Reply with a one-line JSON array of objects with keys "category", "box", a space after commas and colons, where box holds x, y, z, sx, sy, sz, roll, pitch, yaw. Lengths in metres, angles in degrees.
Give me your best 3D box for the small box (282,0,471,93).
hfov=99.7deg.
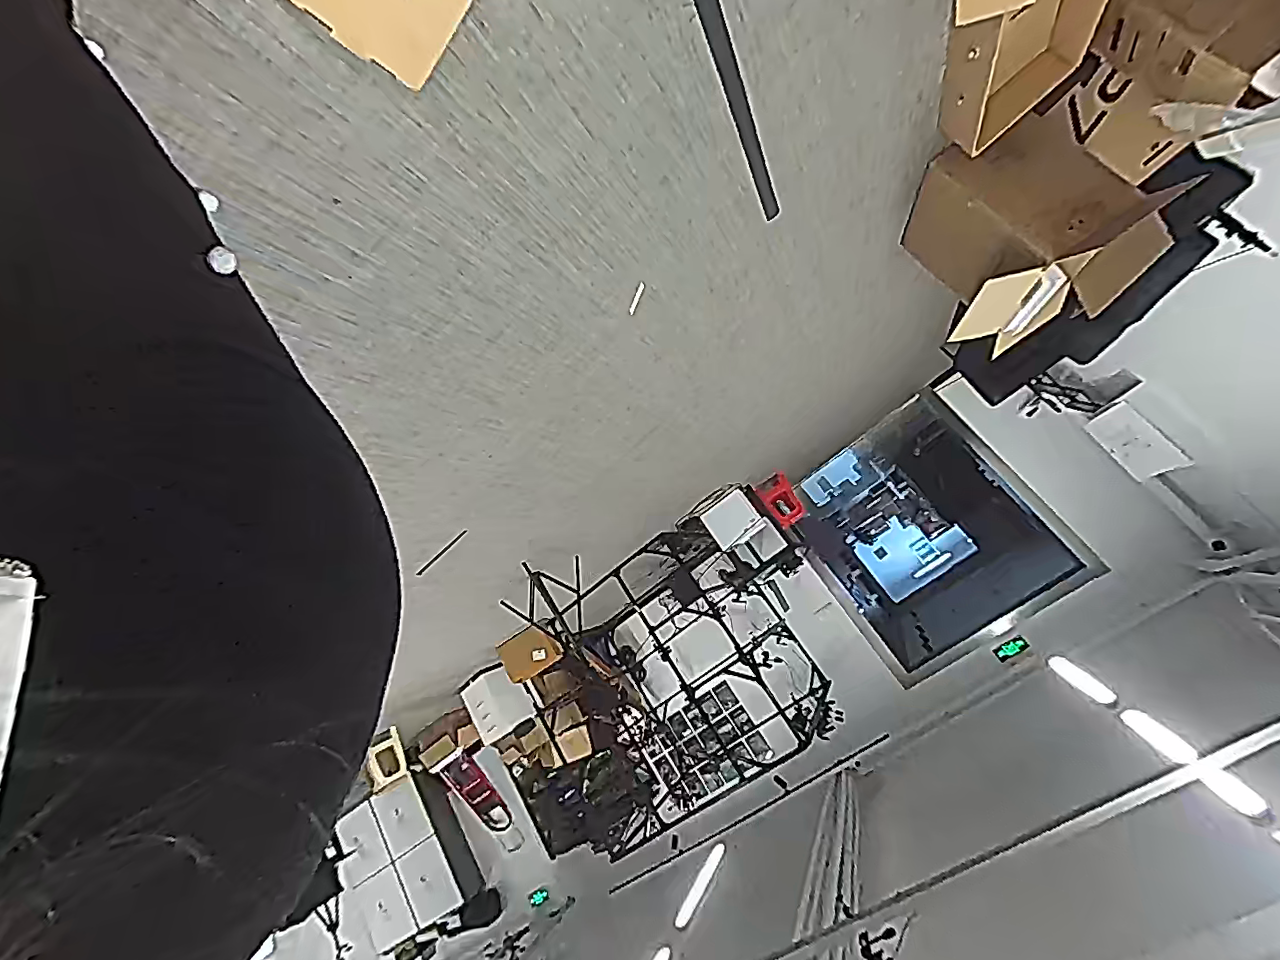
[{"category": "small box", "box": [-0.300, -0.584, 0.576, 0.179, 0.176, 0.168, -42, 161, 22]}]
